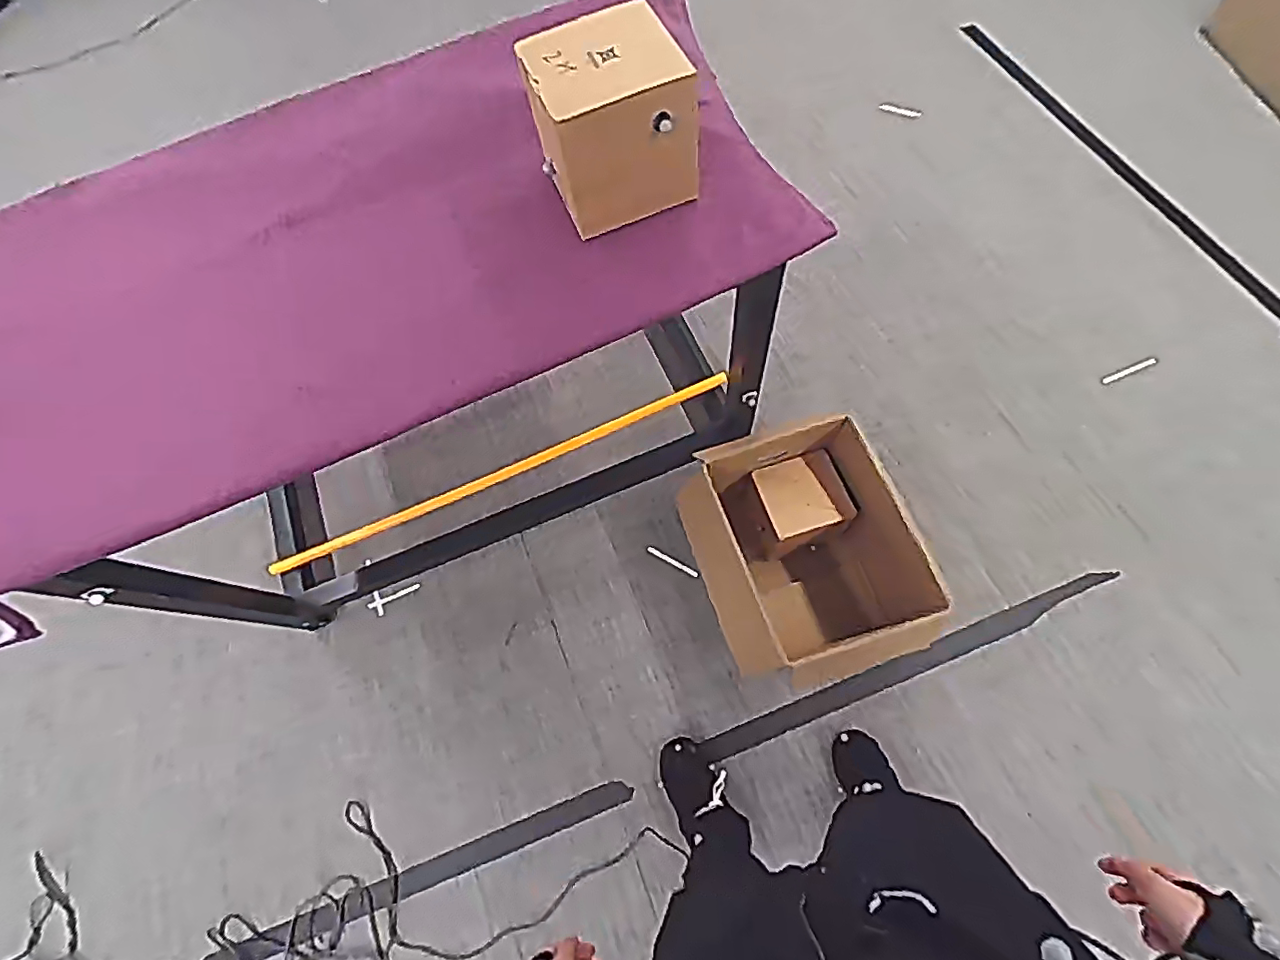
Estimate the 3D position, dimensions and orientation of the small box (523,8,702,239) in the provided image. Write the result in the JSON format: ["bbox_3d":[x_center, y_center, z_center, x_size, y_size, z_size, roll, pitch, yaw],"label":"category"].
[{"bbox_3d":[-0.031,-0.459,0.713,0.179,0.176,0.168,-22,67,-3],"label":"small box"}]
